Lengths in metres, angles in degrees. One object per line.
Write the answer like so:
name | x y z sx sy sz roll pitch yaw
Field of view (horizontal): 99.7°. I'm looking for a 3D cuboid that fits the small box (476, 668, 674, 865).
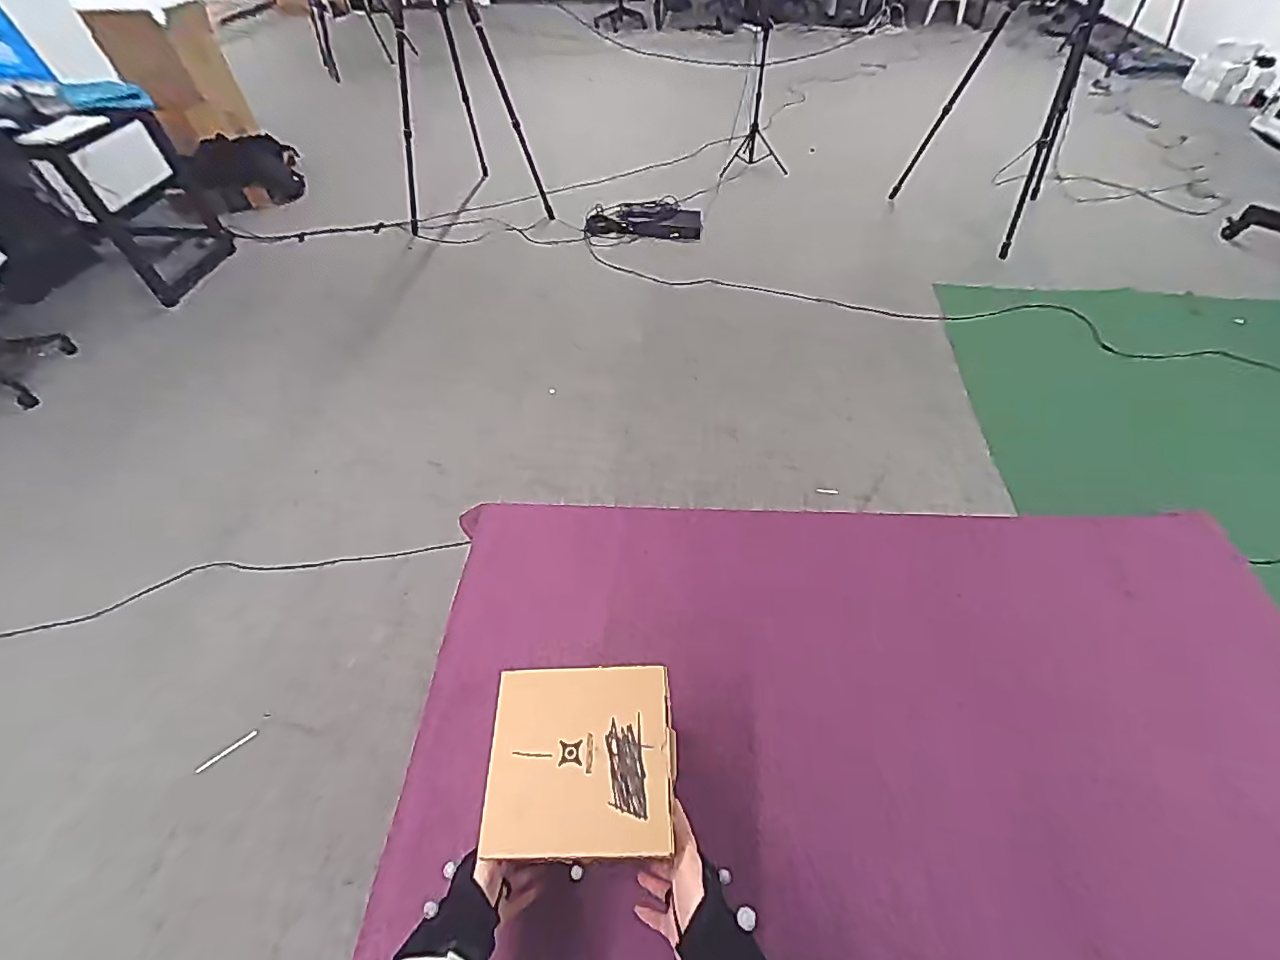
small box | -0.053 0.310 0.582 0.179 0.176 0.168 -3 53 4
